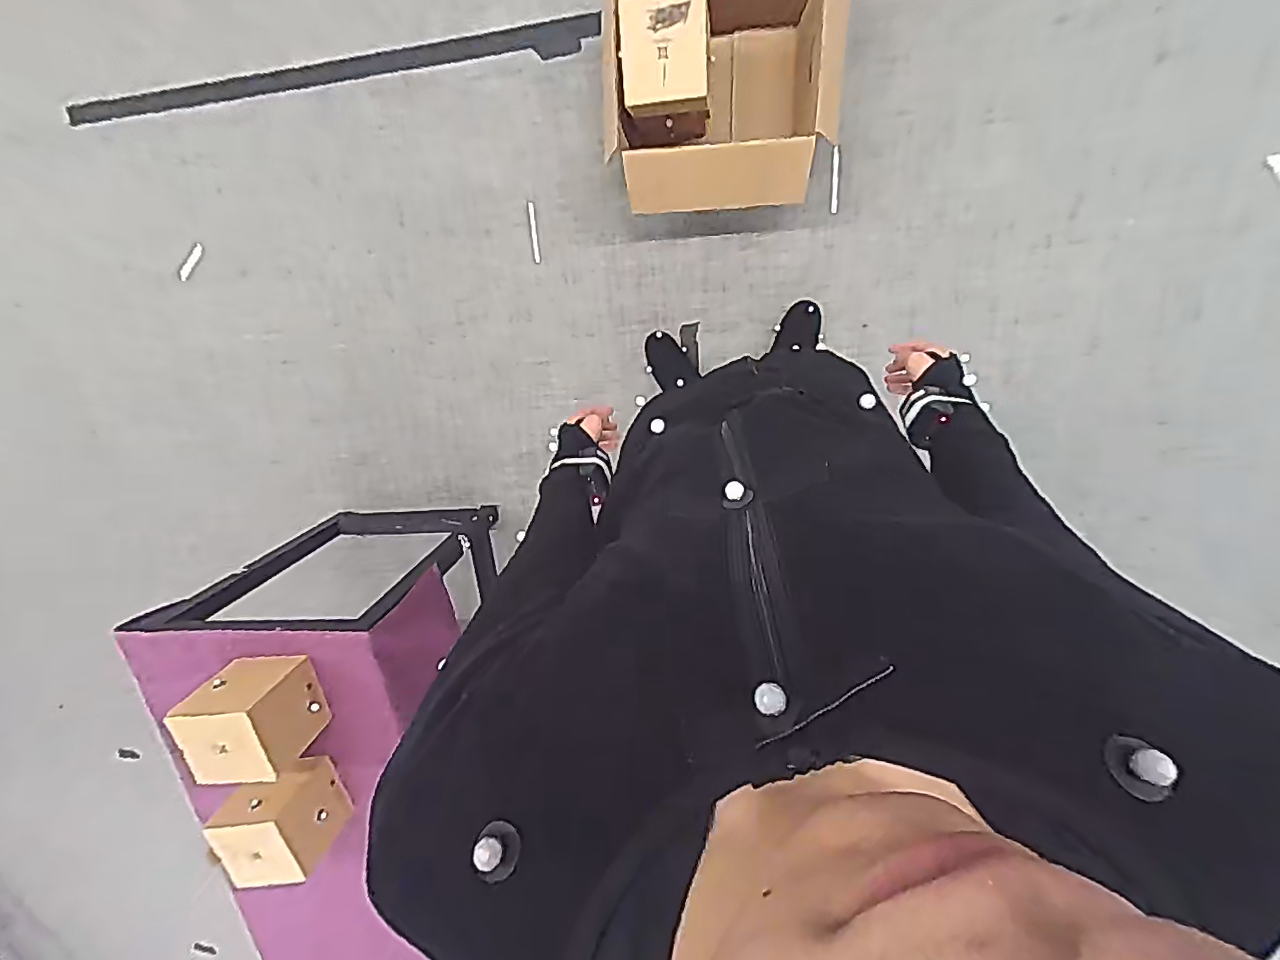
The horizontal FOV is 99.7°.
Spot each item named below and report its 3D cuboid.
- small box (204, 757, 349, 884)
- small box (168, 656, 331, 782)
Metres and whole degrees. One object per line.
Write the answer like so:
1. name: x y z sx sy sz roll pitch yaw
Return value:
1. small box: -0.769 0.730 1.172 0.179 0.176 0.168 -11 107 11
2. small box: -0.770 0.472 1.085 0.179 0.176 0.168 -6 109 9
